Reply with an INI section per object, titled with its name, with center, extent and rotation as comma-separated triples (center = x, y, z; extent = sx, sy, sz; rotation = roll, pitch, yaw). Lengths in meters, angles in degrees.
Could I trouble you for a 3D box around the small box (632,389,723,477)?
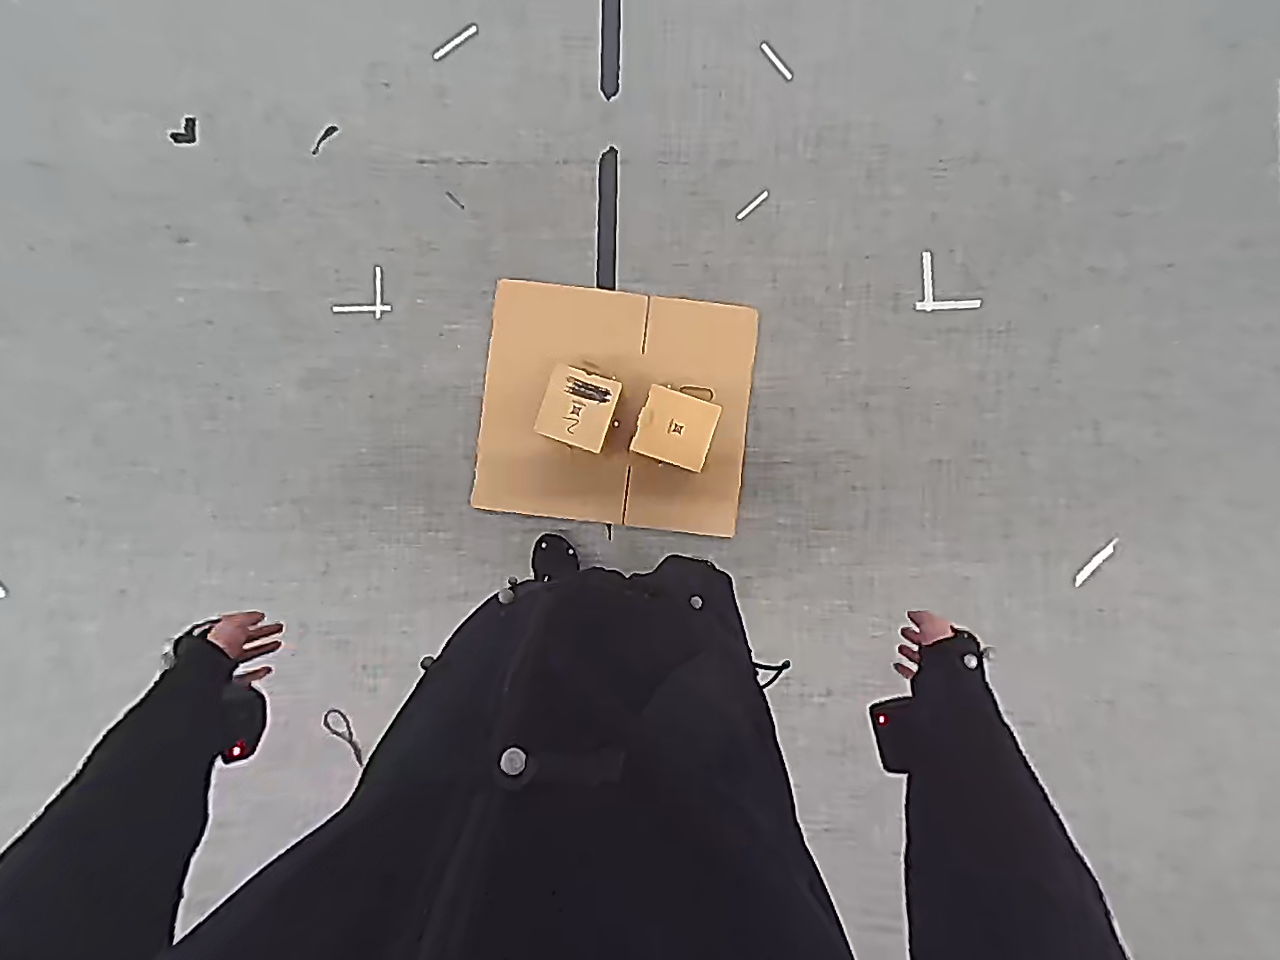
[small box]
center = 0.089, -0.111, 1.347
extent = 0.179, 0.176, 0.168
rotation = 18, 89, 1
